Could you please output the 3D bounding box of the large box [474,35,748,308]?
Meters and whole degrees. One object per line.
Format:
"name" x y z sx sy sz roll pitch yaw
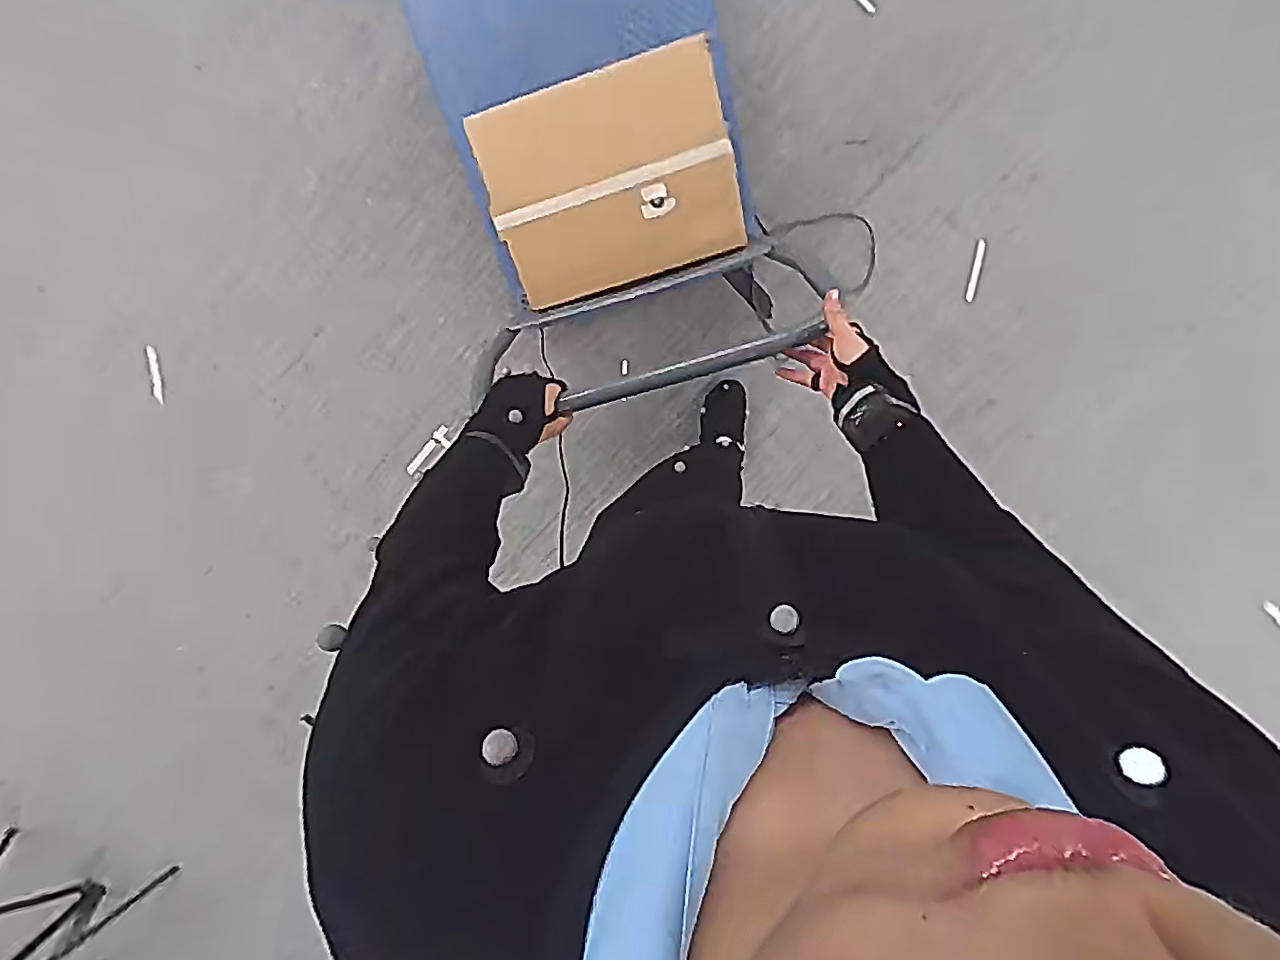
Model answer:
"large box" -0.044 -0.561 1.048 0.408 0.320 0.320 -16 114 6
